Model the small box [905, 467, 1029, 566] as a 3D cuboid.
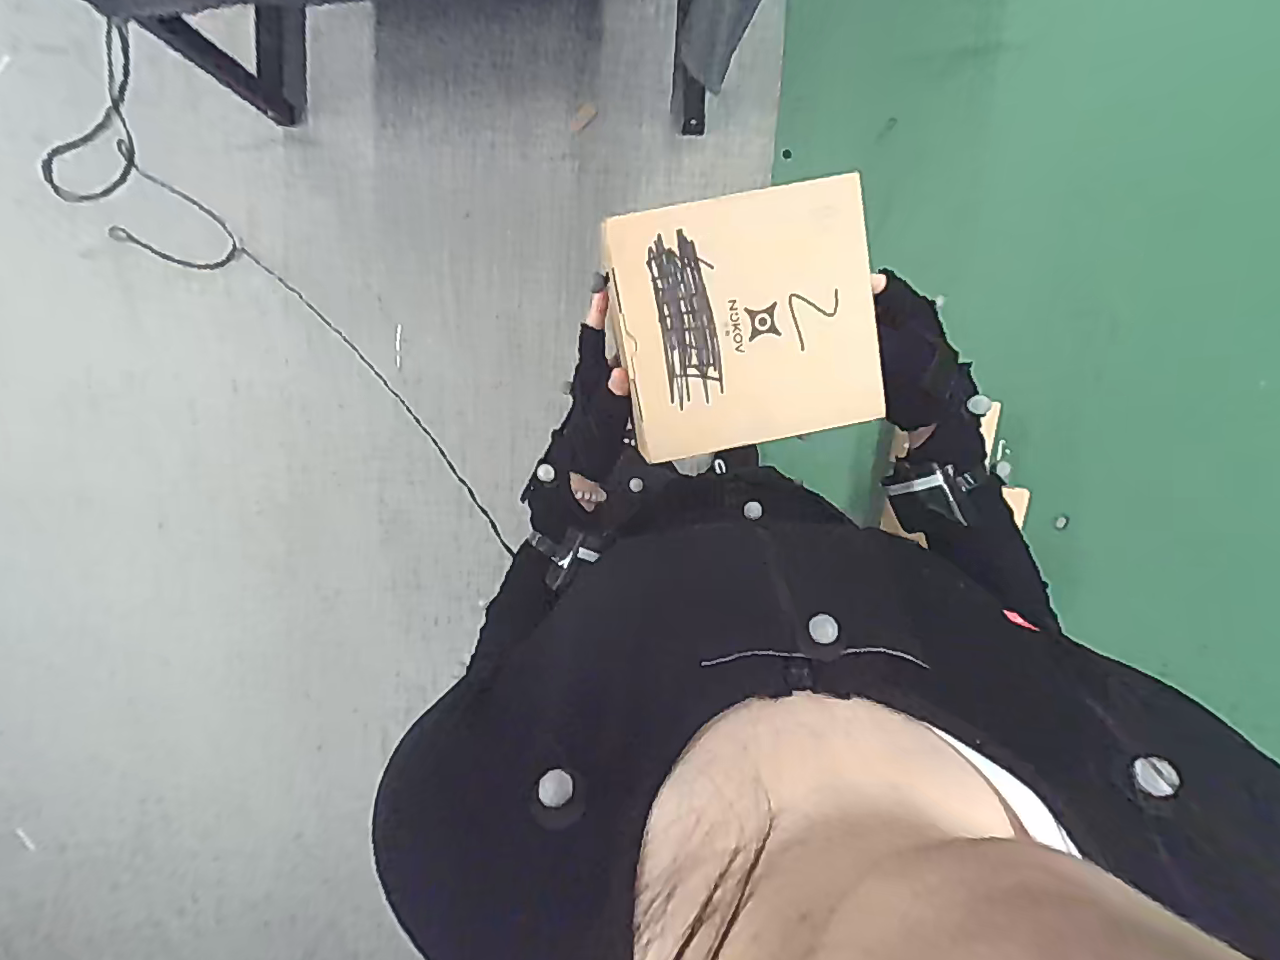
[{"bbox_3d":[0.713,0.074,1.203,0.168,0.176,0.179,10,96,5],"label":"small box"}]
